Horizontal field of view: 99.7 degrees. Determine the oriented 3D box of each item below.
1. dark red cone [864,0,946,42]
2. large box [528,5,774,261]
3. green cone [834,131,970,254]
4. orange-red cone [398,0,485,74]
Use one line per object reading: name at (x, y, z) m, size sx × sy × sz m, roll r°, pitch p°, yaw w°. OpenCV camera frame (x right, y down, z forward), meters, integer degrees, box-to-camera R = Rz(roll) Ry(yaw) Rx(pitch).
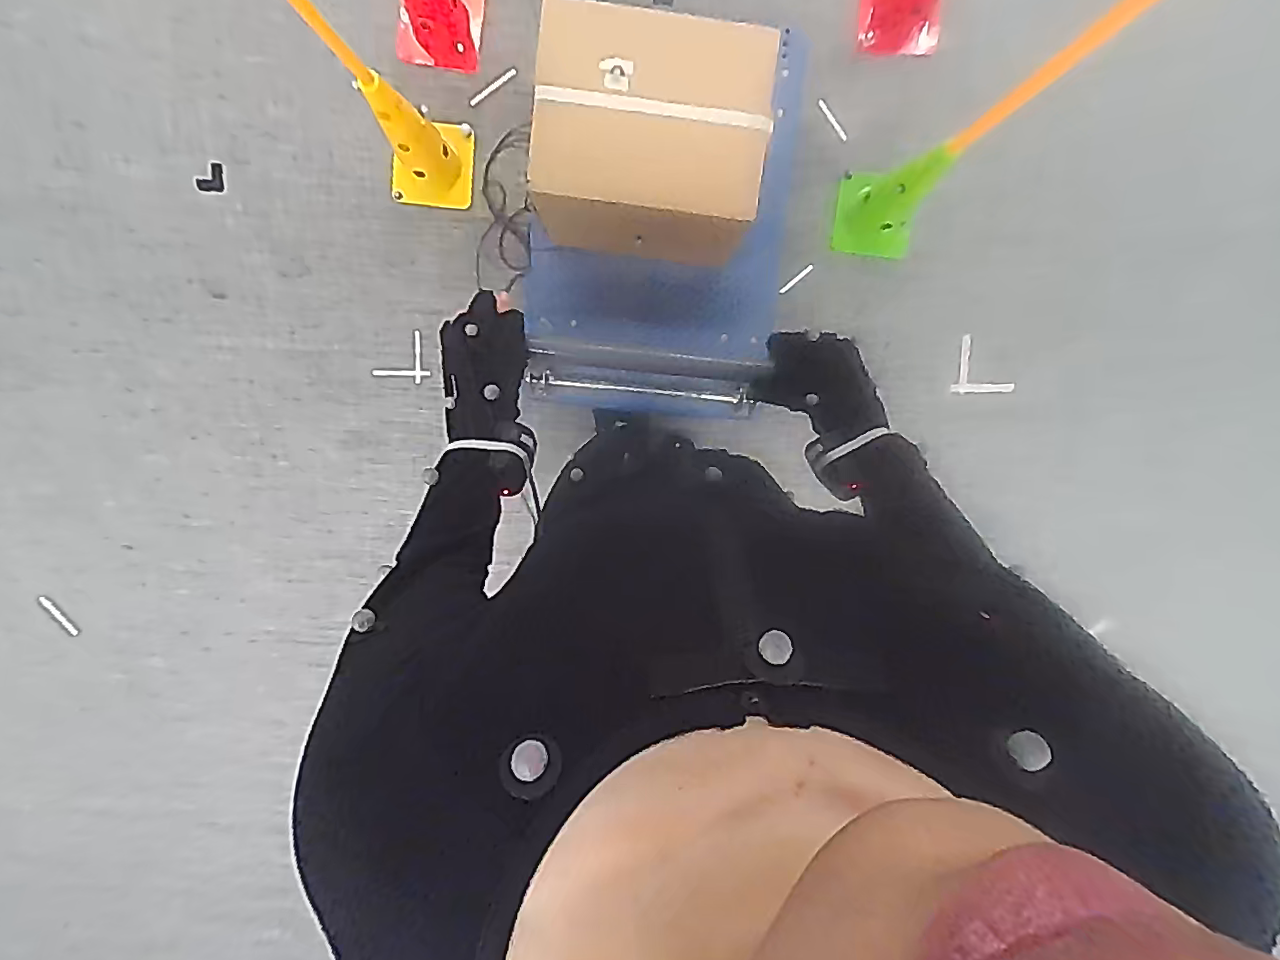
dark red cone at (0.647, -1.149, 1.144) m, size 0.201 × 0.394 × 0.202 m, roll 2°, pitch 98°, yaw -3°
large box at (0.018, -0.649, 1.075) m, size 0.408 × 0.320 × 0.320 m, roll 7°, pitch 97°, yaw -1°
green cone at (0.610, -0.671, 1.221) m, size 0.202 × 0.368 × 0.200 m, roll 6°, pitch 97°, yaw -2°
orange-red cone at (-0.486, -1.104, 1.162) m, size 0.198 × 0.360 × 0.199 m, roll 9°, pitch 96°, yaw -3°
